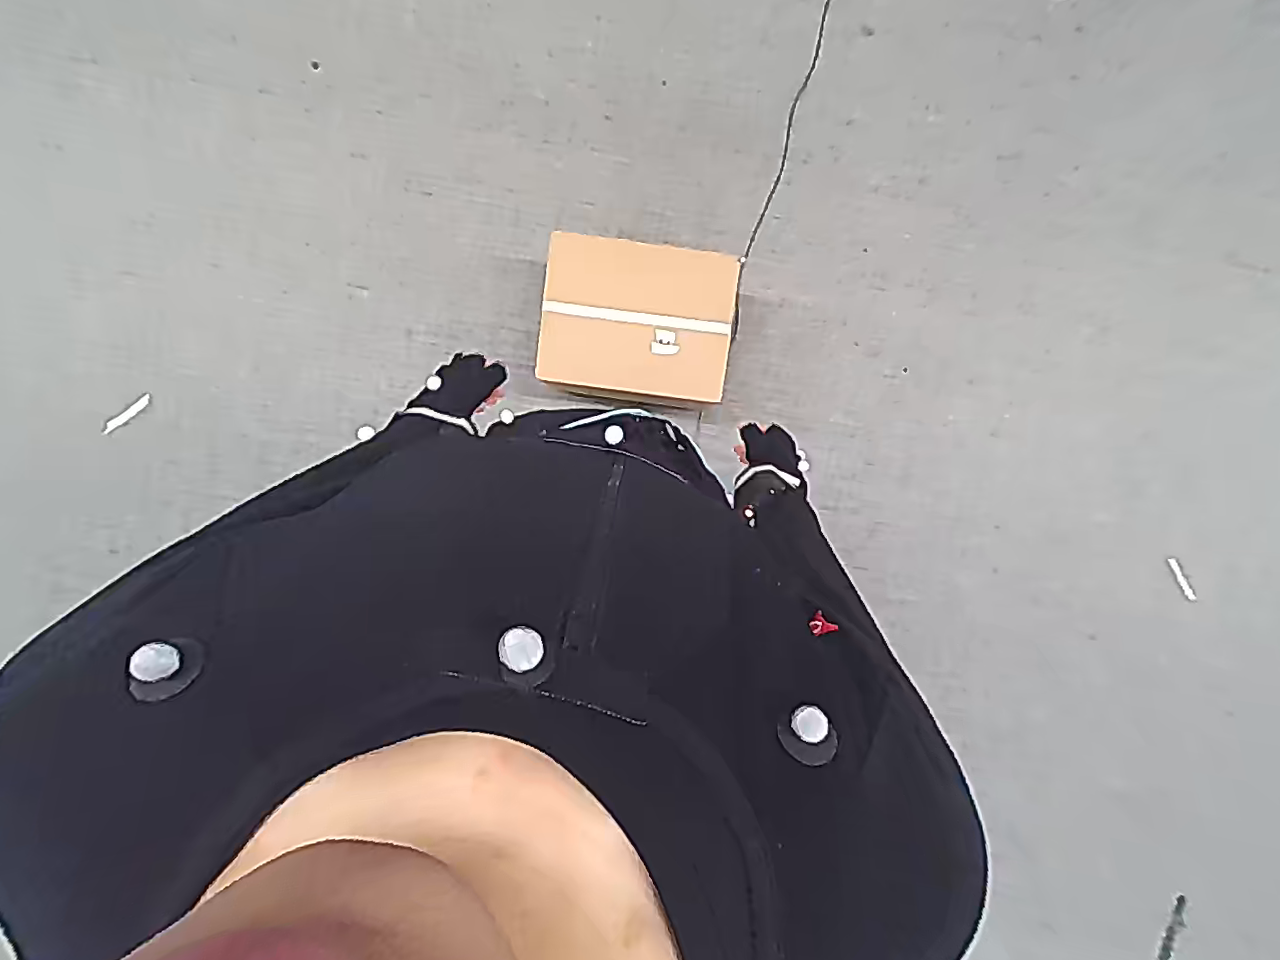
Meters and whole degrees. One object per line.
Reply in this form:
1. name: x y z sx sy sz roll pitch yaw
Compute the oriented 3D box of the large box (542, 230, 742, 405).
1. large box: -0.002 -0.365 1.303 0.408 0.320 0.320 8 96 -2
